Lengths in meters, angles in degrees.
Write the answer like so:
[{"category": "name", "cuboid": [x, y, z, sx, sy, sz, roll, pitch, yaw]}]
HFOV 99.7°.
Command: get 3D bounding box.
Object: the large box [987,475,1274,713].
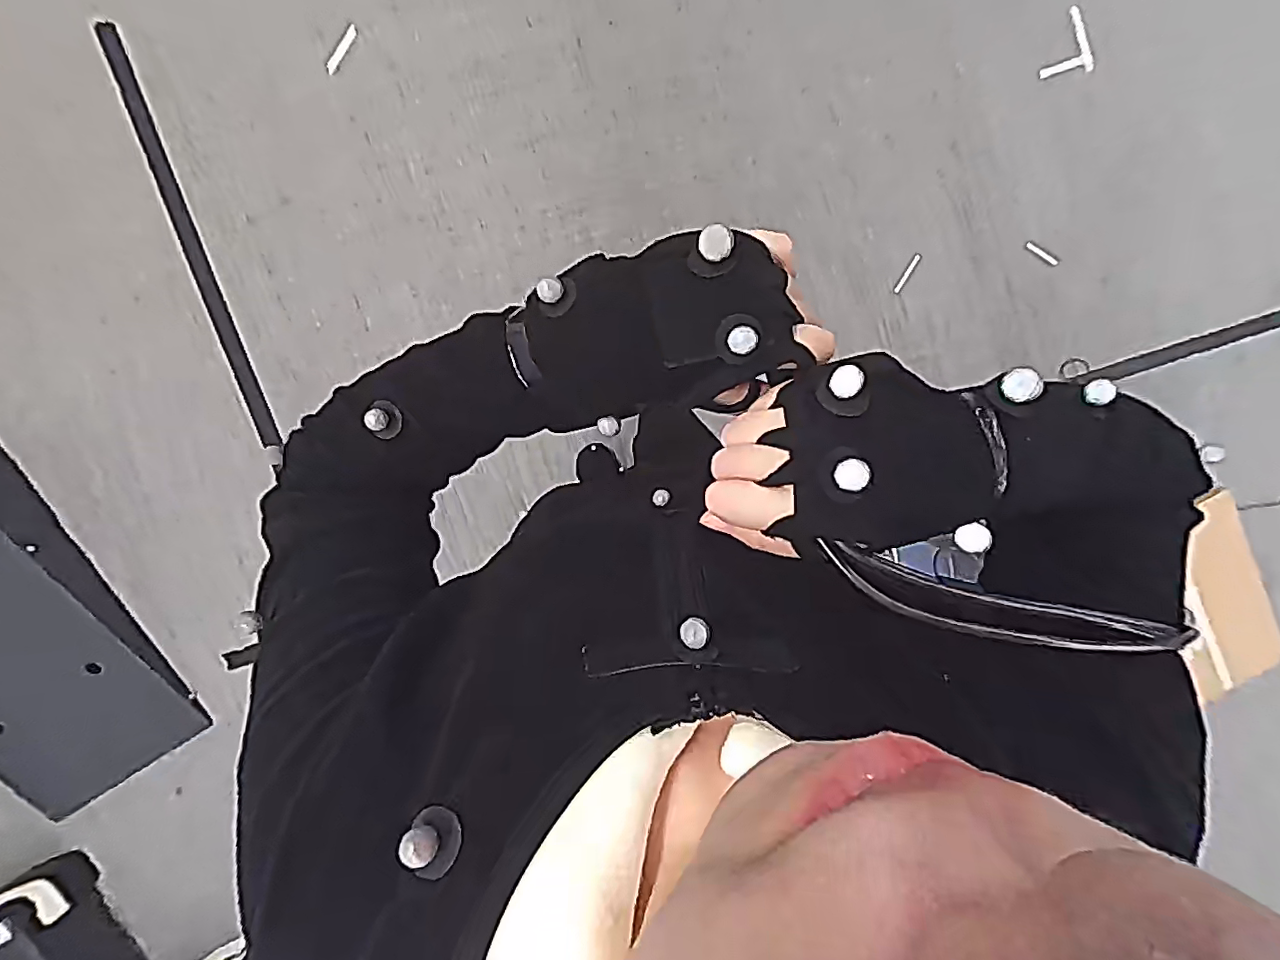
[{"category": "large box", "cuboid": [1.117, 0.238, 1.270, 0.320, 0.320, 0.408, -25, 97, -1]}]
